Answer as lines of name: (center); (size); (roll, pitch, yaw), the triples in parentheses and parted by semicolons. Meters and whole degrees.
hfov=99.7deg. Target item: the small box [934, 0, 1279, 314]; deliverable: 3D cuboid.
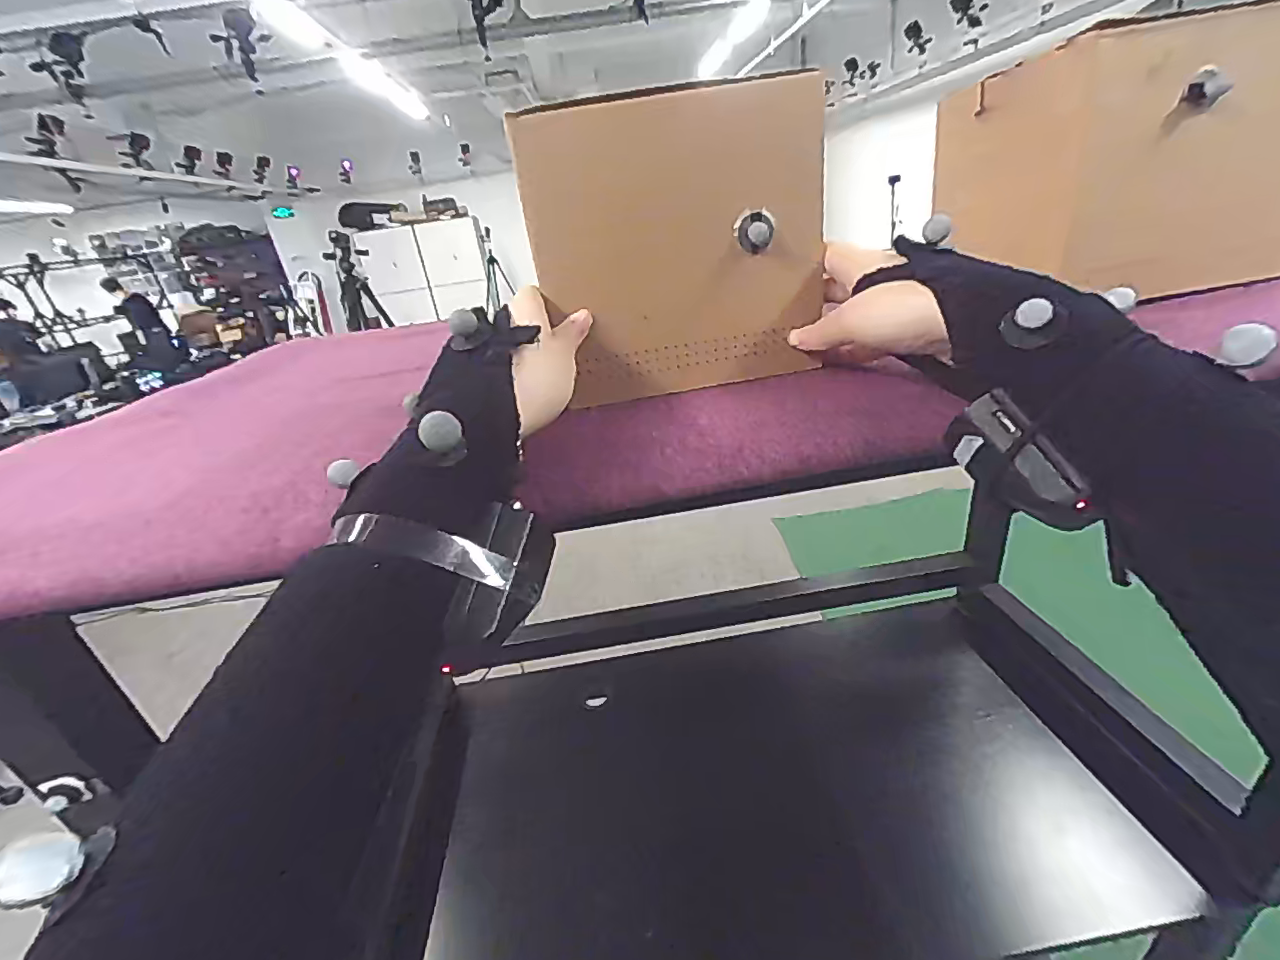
small box: (0.356, -0.233, 0.422); (0.179, 0.176, 0.168); (-9, 24, -1)

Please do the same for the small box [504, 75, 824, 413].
small box: (0.016, -0.162, 0.391); (0.179, 0.176, 0.168); (-11, 26, -3)
